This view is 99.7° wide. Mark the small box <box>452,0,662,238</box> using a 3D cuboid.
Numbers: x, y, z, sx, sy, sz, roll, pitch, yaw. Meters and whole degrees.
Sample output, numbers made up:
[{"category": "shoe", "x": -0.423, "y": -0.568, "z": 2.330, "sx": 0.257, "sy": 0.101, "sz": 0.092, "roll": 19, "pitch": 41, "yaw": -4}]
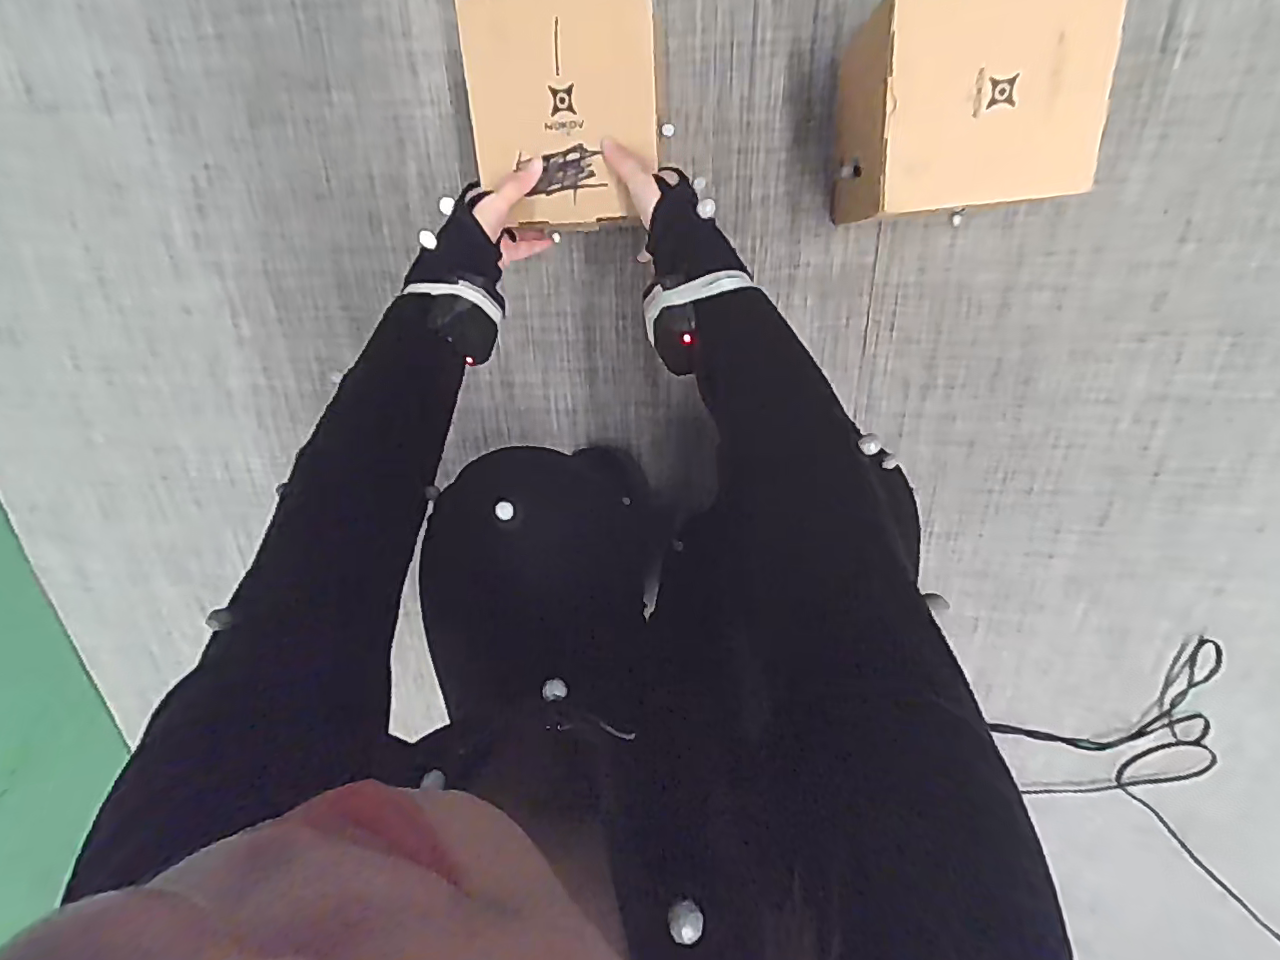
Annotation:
[{"category": "small box", "x": -0.067, "y": -0.347, "z": 0.554, "sx": 0.168, "sy": 0.176, "sz": 0.179, "roll": 0, "pitch": 112, "yaw": 7}]

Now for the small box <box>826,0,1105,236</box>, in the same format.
[{"category": "small box", "x": 0.289, "y": -0.338, "z": 0.529, "sx": 0.179, "sy": 0.176, "sz": 0.168, "roll": -2, "pitch": 112, "yaw": 6}]
